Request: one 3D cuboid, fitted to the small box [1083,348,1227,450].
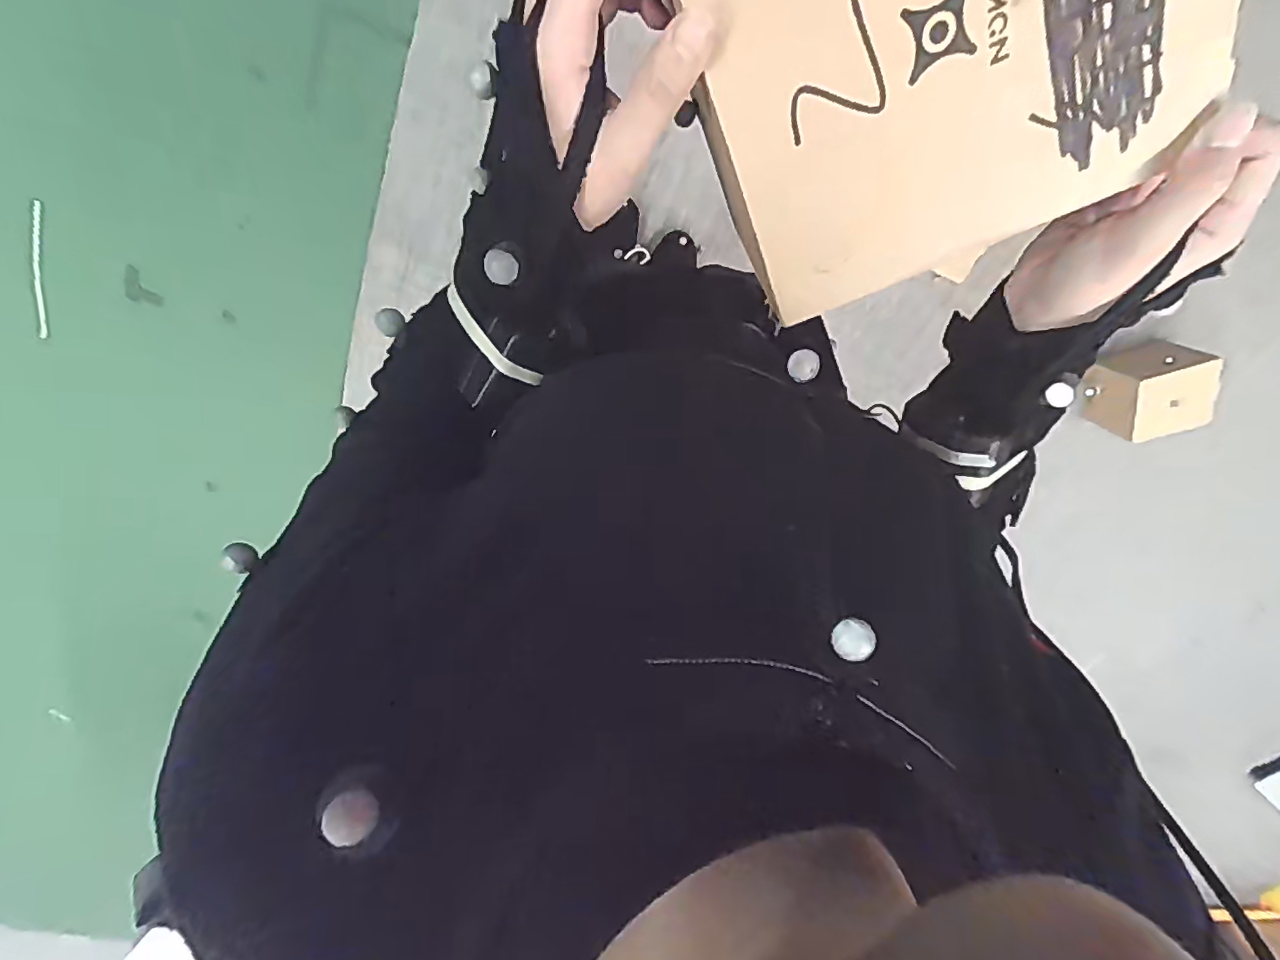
[{"bbox_3d":[1.214,-0.199,1.288,0.179,0.176,0.168,-17,116,8],"label":"small box"}]
